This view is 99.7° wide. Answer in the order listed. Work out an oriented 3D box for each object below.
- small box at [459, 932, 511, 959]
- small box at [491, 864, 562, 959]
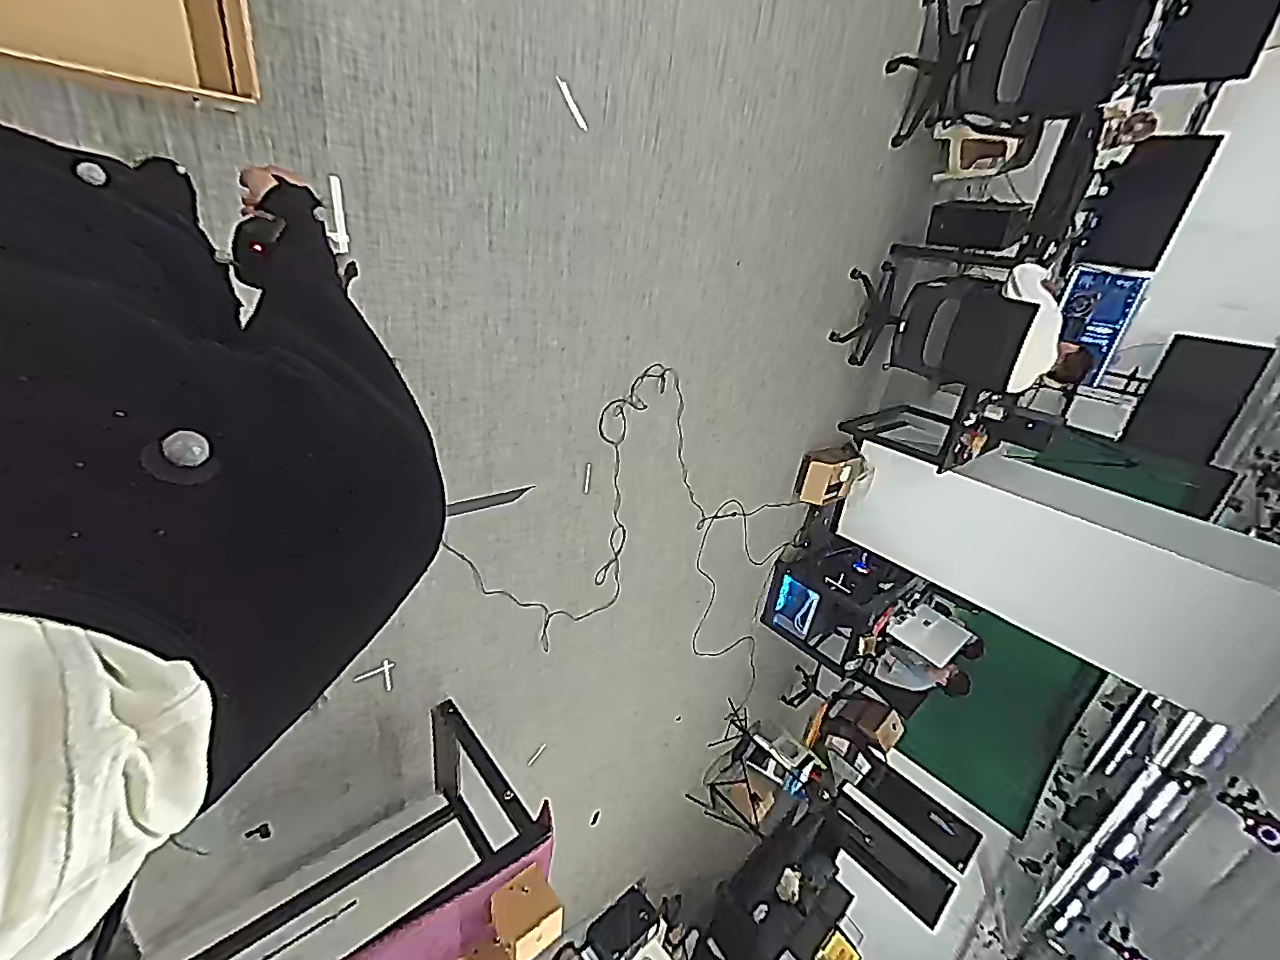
[{"bbox_3d":[-0.496,1.637,1.767,0.168,0.176,0.179,-7,118,-43],"label":"small box"},{"bbox_3d":[-0.371,1.407,1.755,0.168,0.176,0.179,-17,124,-37],"label":"small box"}]
